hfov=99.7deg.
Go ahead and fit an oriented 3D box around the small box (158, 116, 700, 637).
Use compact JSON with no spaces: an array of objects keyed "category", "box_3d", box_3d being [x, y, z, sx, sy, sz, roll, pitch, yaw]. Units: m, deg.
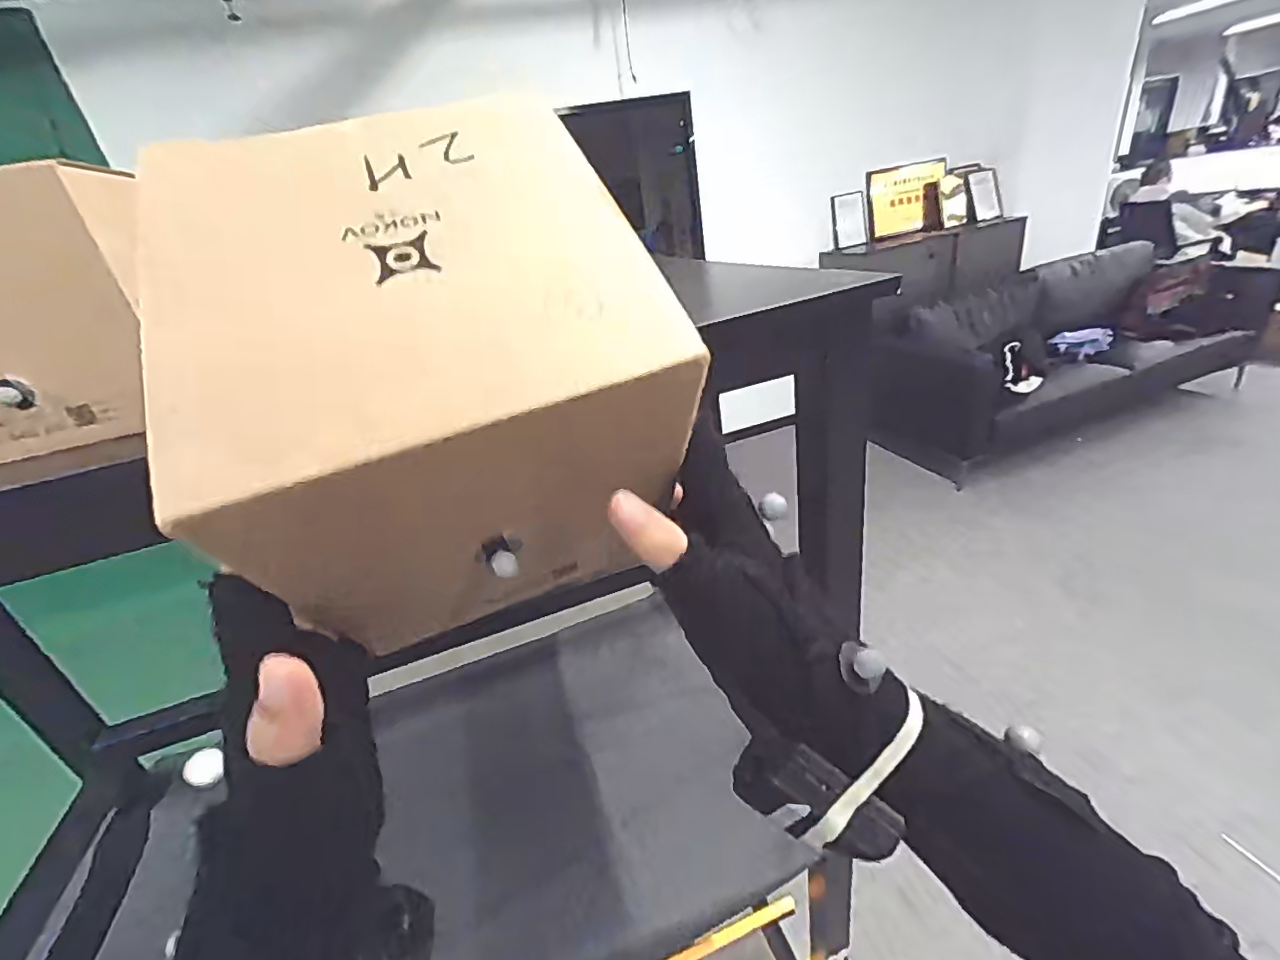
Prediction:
[{"category":"small box","box_3d":[-0.089,-0.037,0.271,0.168,0.176,0.179,-20,64,-15]}]
